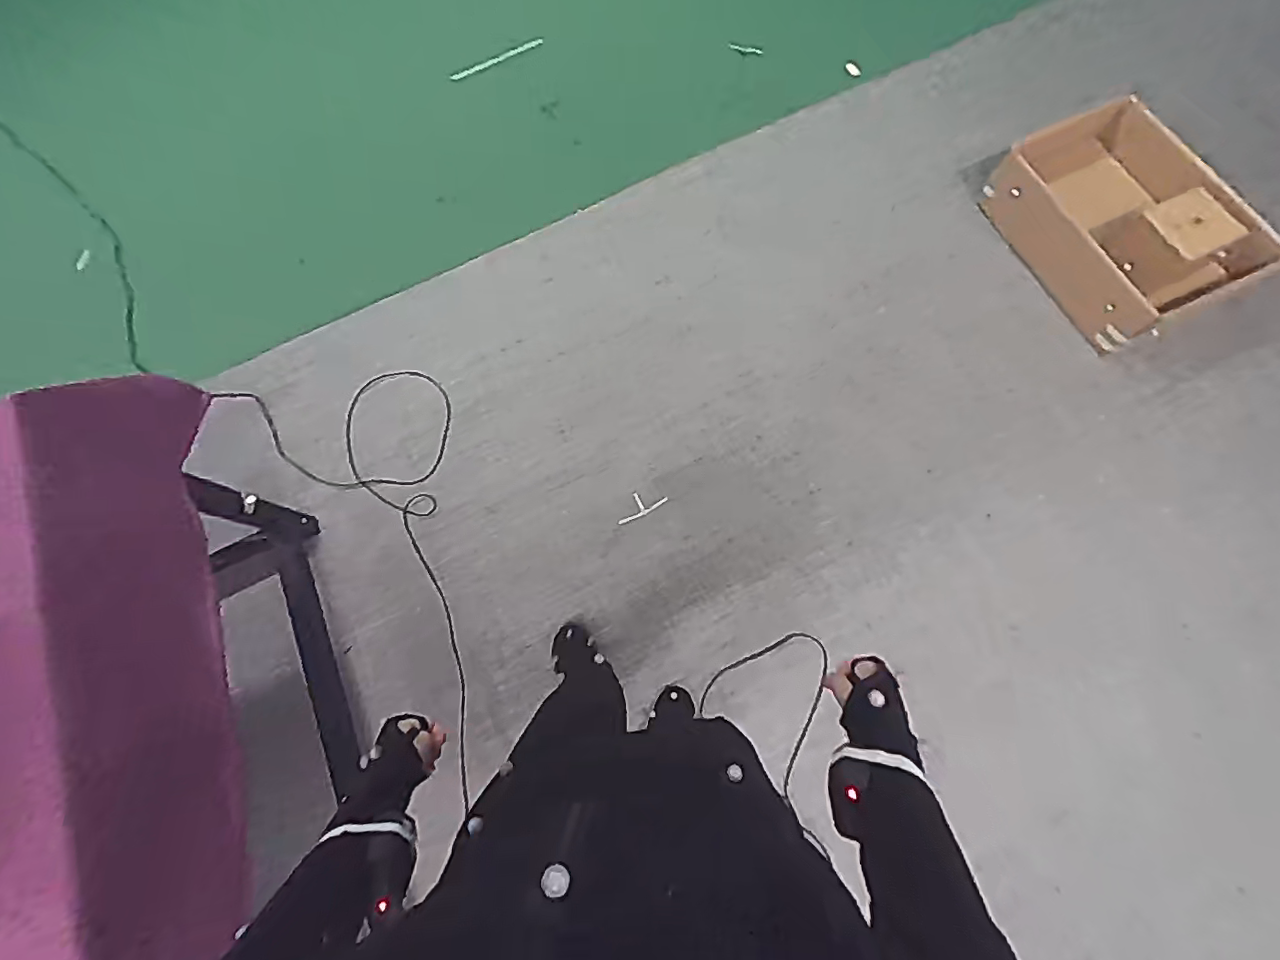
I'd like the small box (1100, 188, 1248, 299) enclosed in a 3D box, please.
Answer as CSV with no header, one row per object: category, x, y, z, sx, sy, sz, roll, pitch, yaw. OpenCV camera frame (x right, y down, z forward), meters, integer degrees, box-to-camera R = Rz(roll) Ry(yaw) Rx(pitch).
small box,1.377,-0.610,1.410,0.179,0.176,0.168,-24,71,-2
